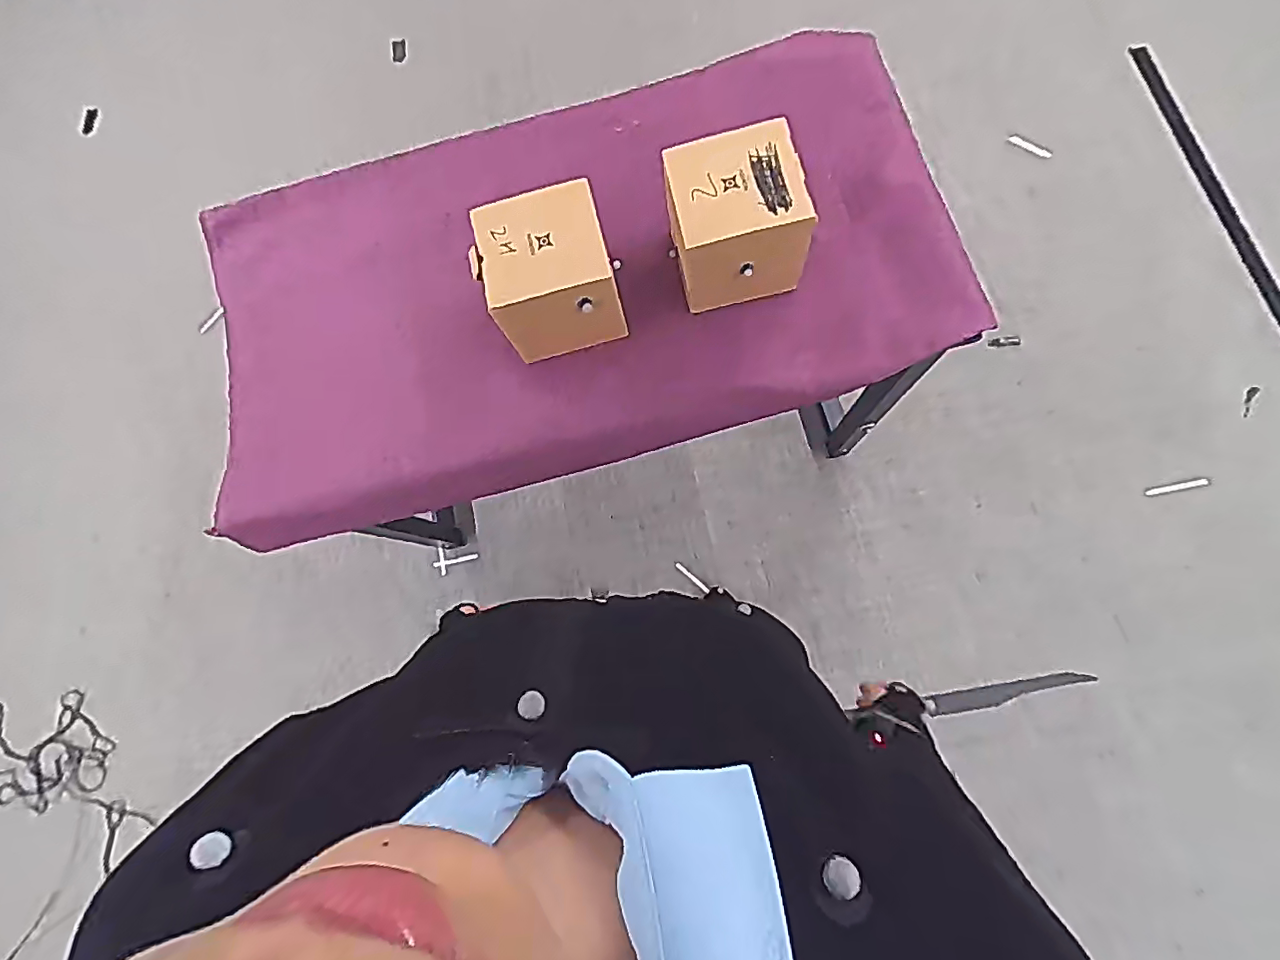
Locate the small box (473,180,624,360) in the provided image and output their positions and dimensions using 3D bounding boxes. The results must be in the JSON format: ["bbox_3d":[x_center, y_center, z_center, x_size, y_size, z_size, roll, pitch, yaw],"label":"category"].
[{"bbox_3d":[-0.126,-0.305,0.817,0.179,0.176,0.168,-15,76,3],"label":"small box"}]
